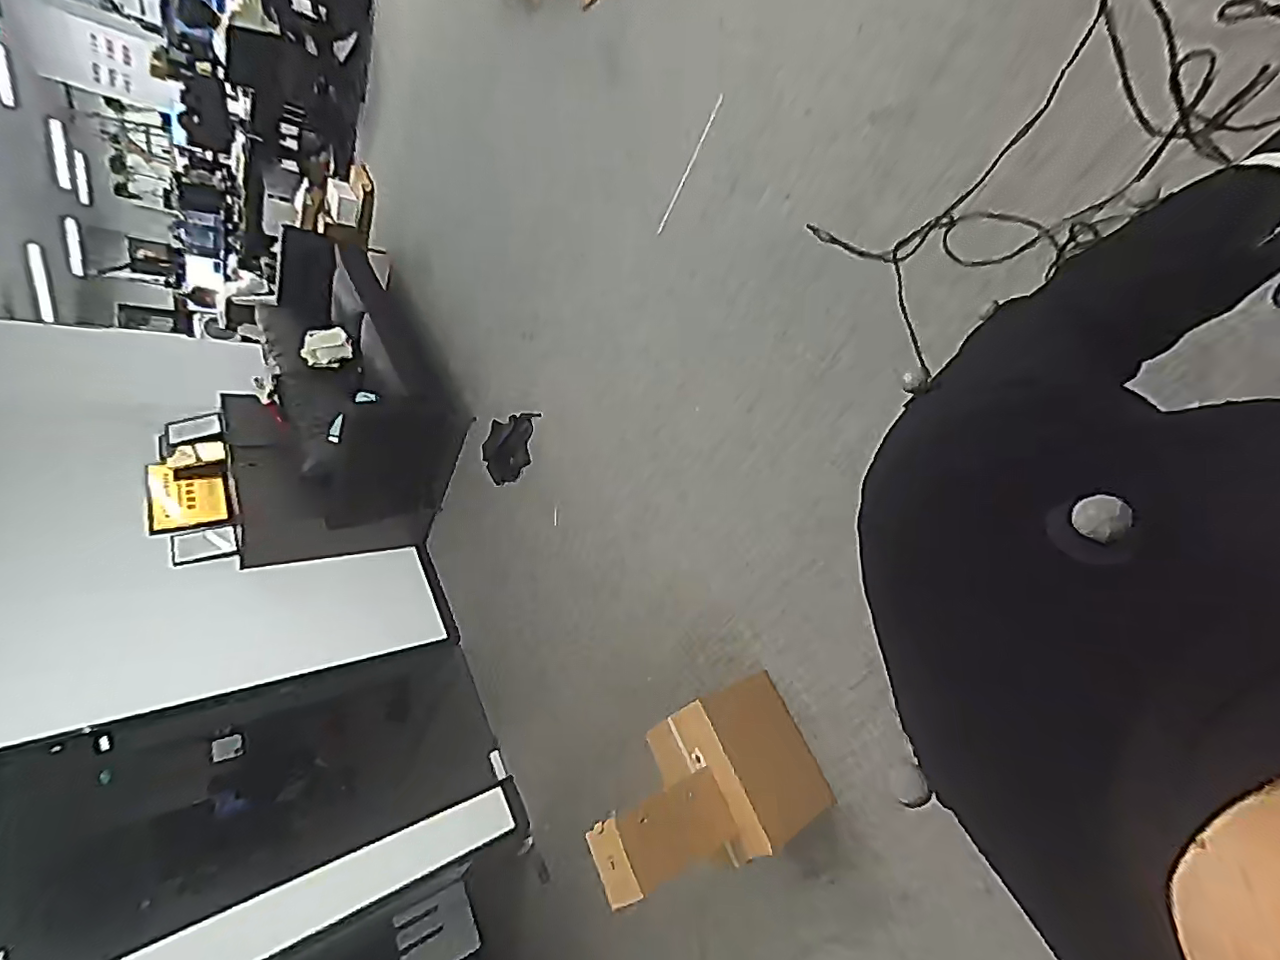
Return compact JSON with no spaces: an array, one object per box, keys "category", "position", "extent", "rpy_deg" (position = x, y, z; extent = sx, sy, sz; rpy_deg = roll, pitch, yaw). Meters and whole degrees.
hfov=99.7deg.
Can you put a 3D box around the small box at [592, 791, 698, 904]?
[{"category":"small box","position":[0.012,0.912,1.359],"extent":[0.168,0.176,0.179],"rpy_deg":[-55,53,38]}]

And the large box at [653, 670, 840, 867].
[{"category":"large box","position":[0.312,0.854,1.632],"extent":[0.320,0.320,0.408],"rpy_deg":[-51,54,38]}]
